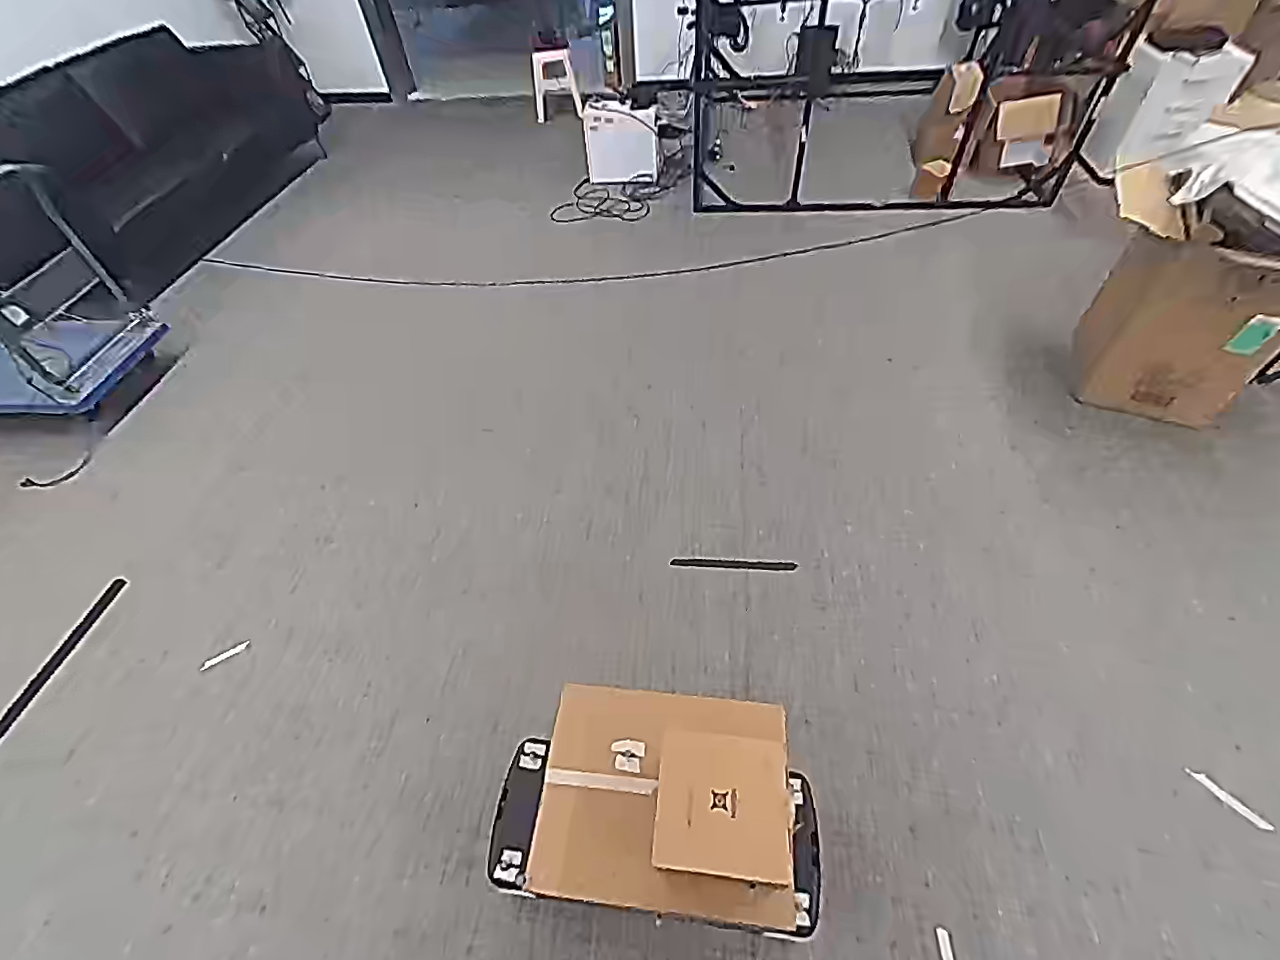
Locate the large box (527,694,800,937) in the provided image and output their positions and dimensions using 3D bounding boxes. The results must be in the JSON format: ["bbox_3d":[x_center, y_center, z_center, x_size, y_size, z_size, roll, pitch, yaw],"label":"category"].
[{"bbox_3d":[0.056,0.609,0.985,0.408,0.320,0.320,2,49,8],"label":"large box"}]

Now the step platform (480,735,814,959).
[{"bbox_3d":[0.016,0.774,1.161,0.684,0.204,0.286,7,51,11],"label":"step platform"}]

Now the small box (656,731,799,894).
[{"bbox_3d":[0.120,0.475,0.770,0.179,0.176,0.168,3,51,8],"label":"small box"}]
